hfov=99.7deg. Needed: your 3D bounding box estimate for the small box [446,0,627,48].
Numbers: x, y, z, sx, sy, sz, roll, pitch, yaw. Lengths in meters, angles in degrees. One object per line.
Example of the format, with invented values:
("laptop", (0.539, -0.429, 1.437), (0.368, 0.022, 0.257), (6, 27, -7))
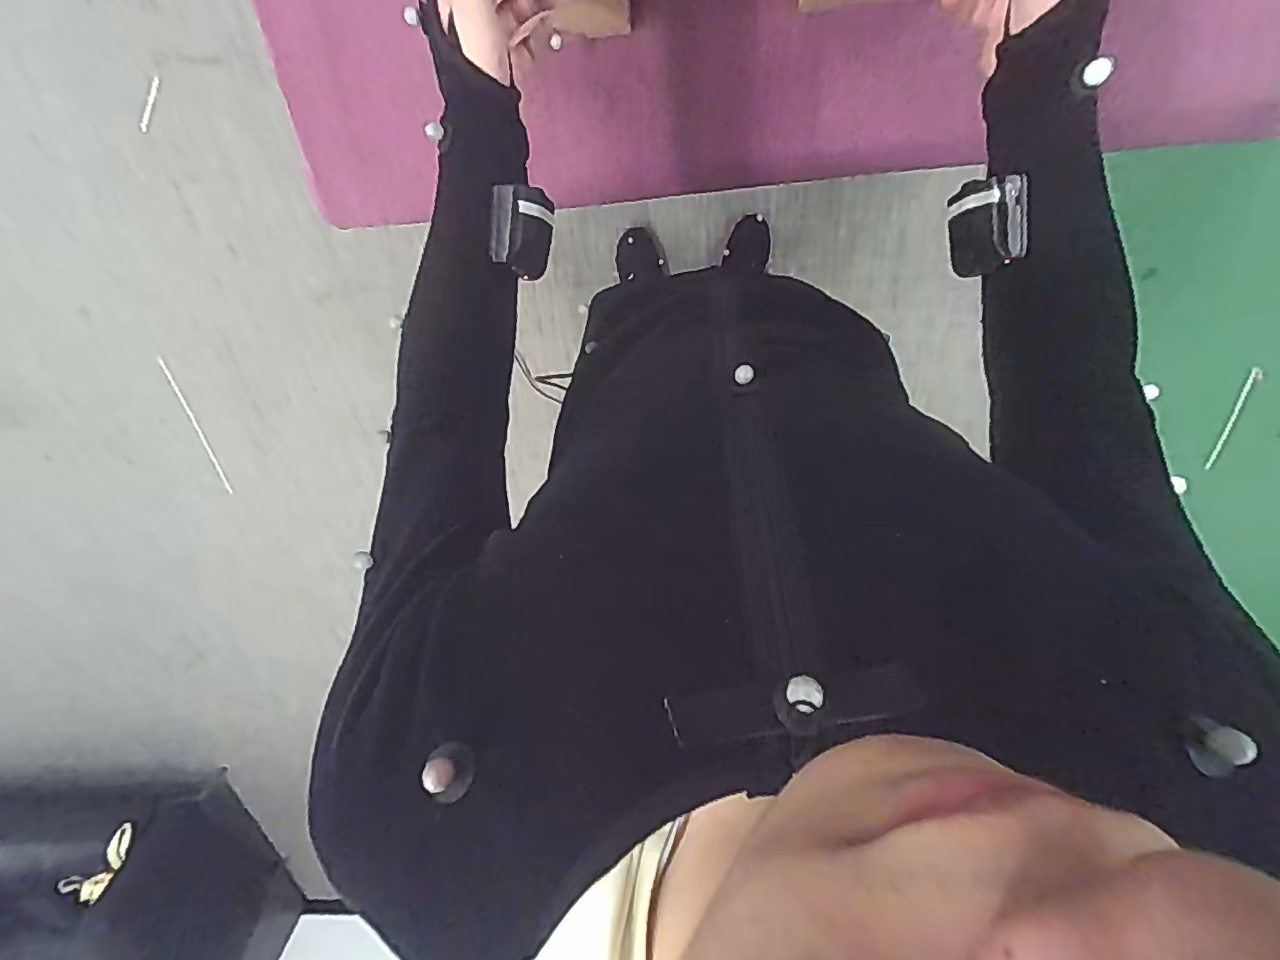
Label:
("small box", (-0.105, -0.562, 0.534), (0.168, 0.176, 0.179), (-2, 118, 5))
